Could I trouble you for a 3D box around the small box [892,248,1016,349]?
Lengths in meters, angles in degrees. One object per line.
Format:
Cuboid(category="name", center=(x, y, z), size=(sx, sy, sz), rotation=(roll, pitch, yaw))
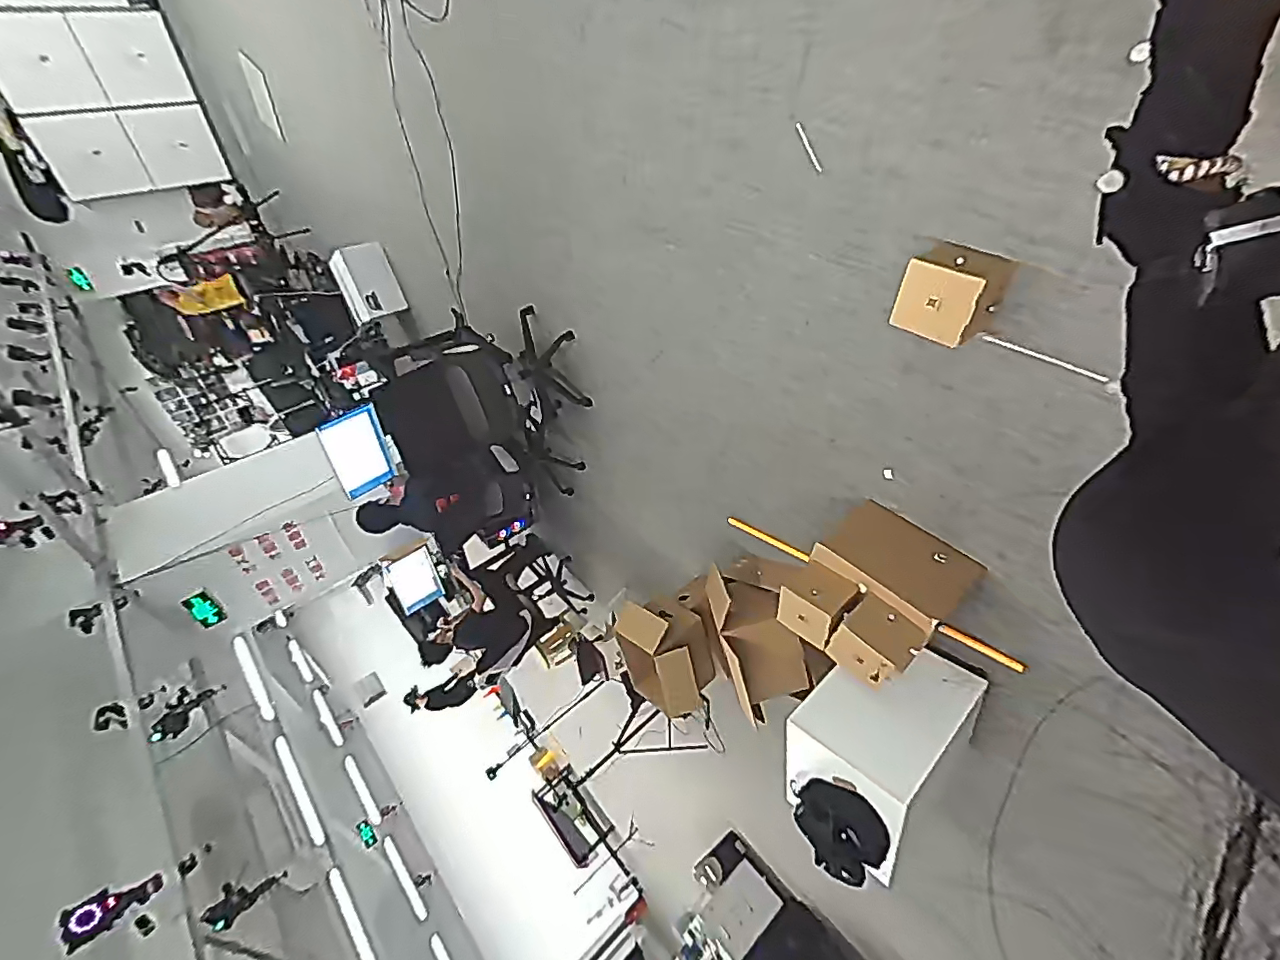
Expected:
Cuboid(category="small box", center=(0.750, -0.443, 1.299), size=(0.179, 0.176, 0.168), rotation=(36, 143, 33))
